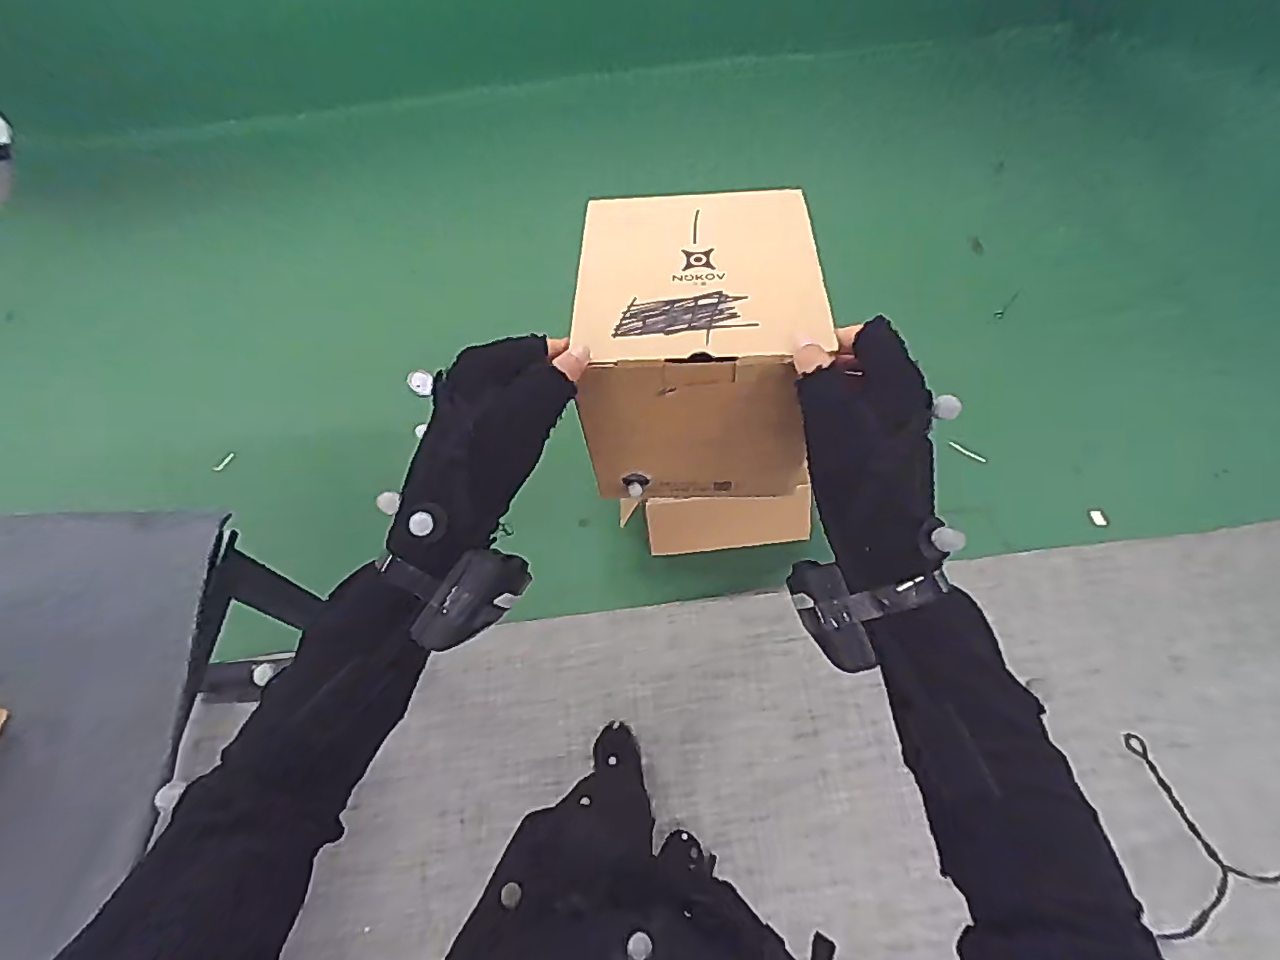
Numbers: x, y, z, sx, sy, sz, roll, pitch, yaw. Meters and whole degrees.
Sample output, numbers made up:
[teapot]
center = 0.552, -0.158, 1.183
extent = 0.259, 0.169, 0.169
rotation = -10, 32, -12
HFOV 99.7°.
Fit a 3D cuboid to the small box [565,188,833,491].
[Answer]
[small box]
center = 0.045, -0.102, 0.436
extent = 0.168, 0.176, 0.179
rotation = 0, 57, 5
